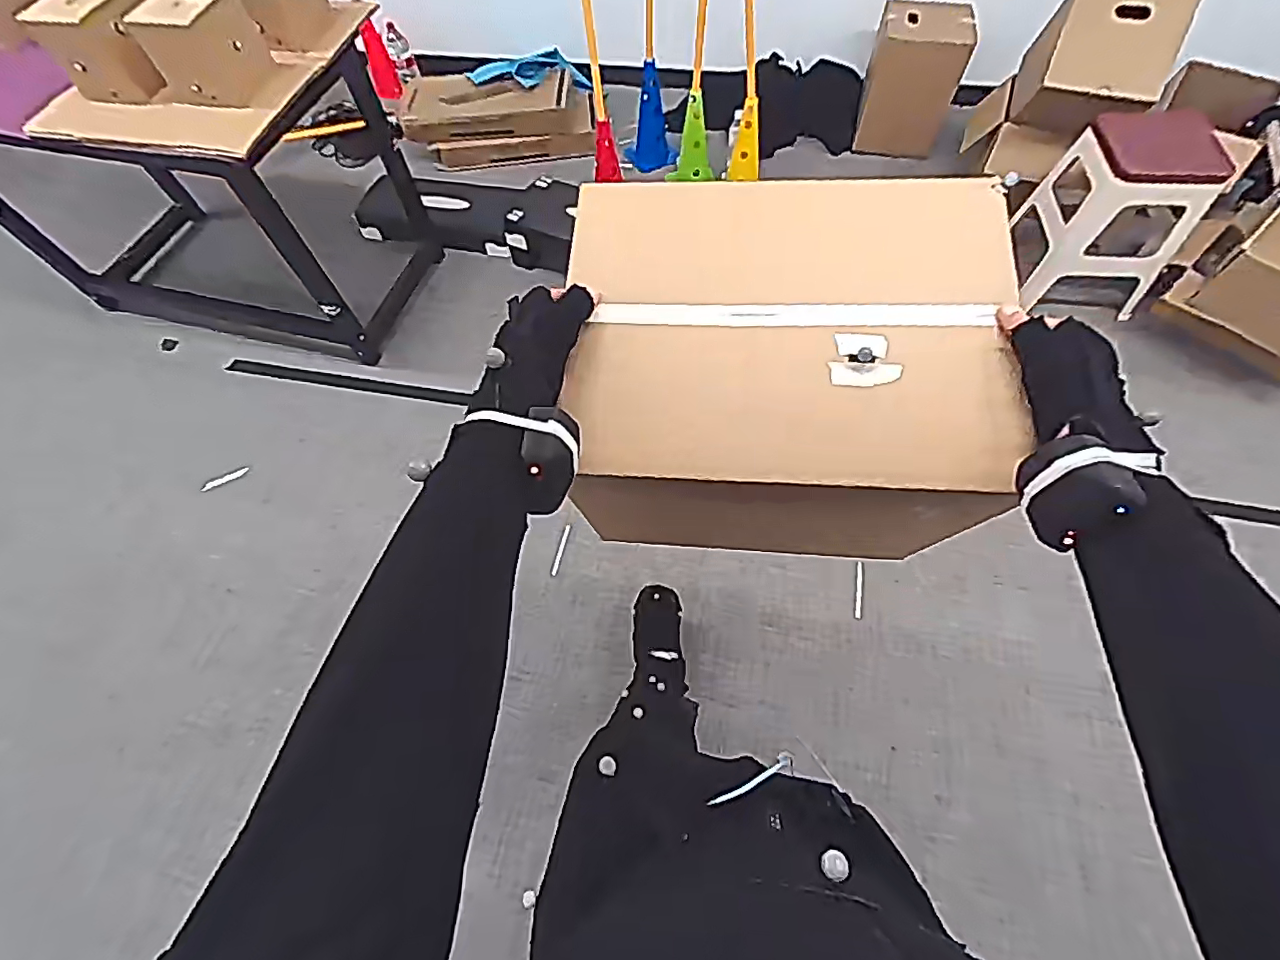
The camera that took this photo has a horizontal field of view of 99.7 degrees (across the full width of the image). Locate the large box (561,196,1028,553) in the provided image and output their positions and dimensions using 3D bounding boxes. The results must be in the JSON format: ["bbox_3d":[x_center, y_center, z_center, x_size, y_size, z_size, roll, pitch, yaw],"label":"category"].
[{"bbox_3d":[0.146,-0.097,0.650,0.408,0.320,0.320,3,73,6],"label":"large box"}]
